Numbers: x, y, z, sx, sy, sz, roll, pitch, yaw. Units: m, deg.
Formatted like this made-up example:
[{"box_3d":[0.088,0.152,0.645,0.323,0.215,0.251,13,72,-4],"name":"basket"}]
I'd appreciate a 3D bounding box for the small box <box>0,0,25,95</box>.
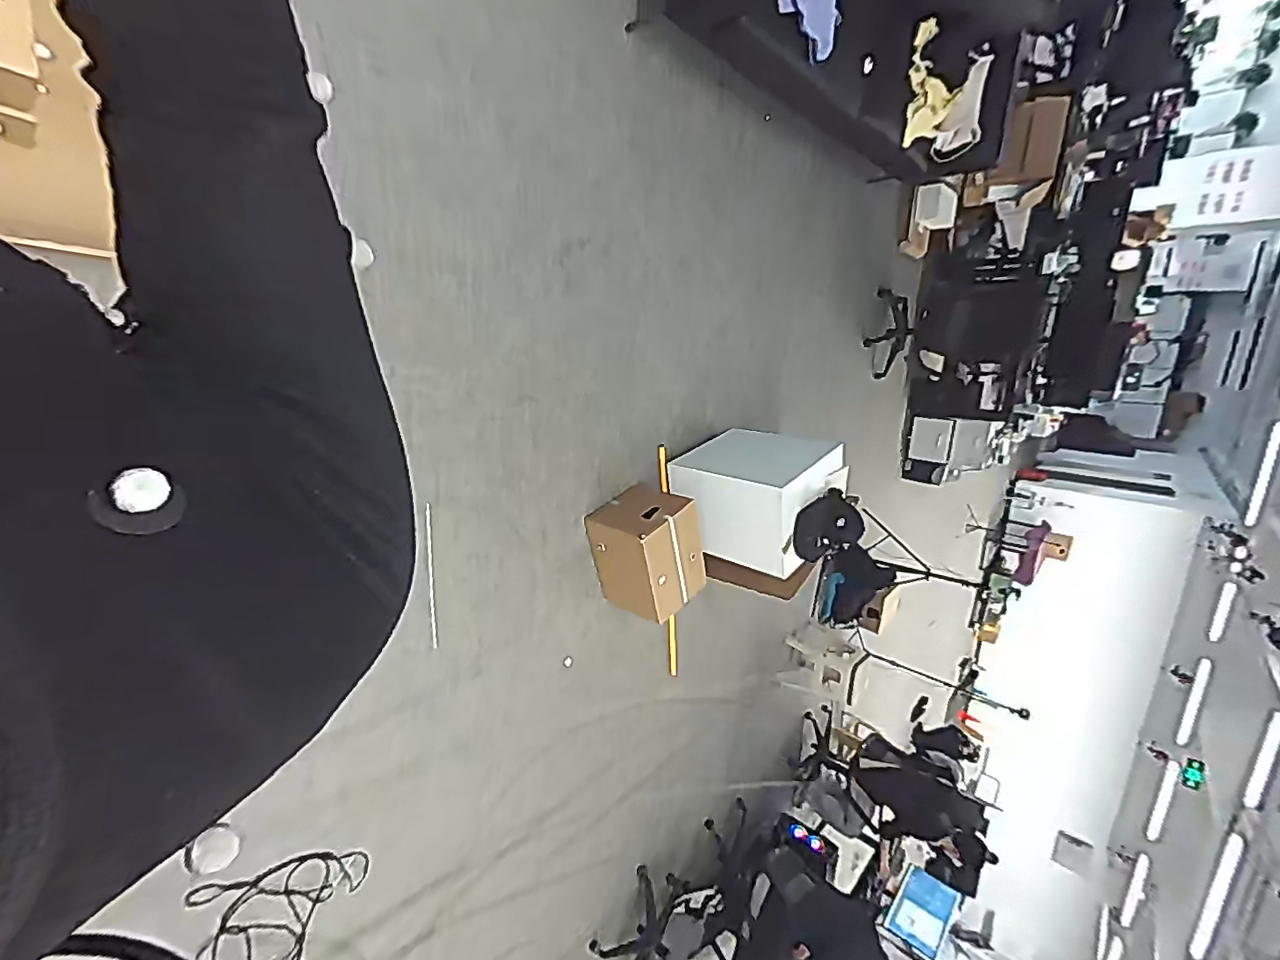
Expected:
[{"box_3d":[-0.901,-0.616,0.667,0.179,0.176,0.168,-9,106,-49],"name":"small box"}]
